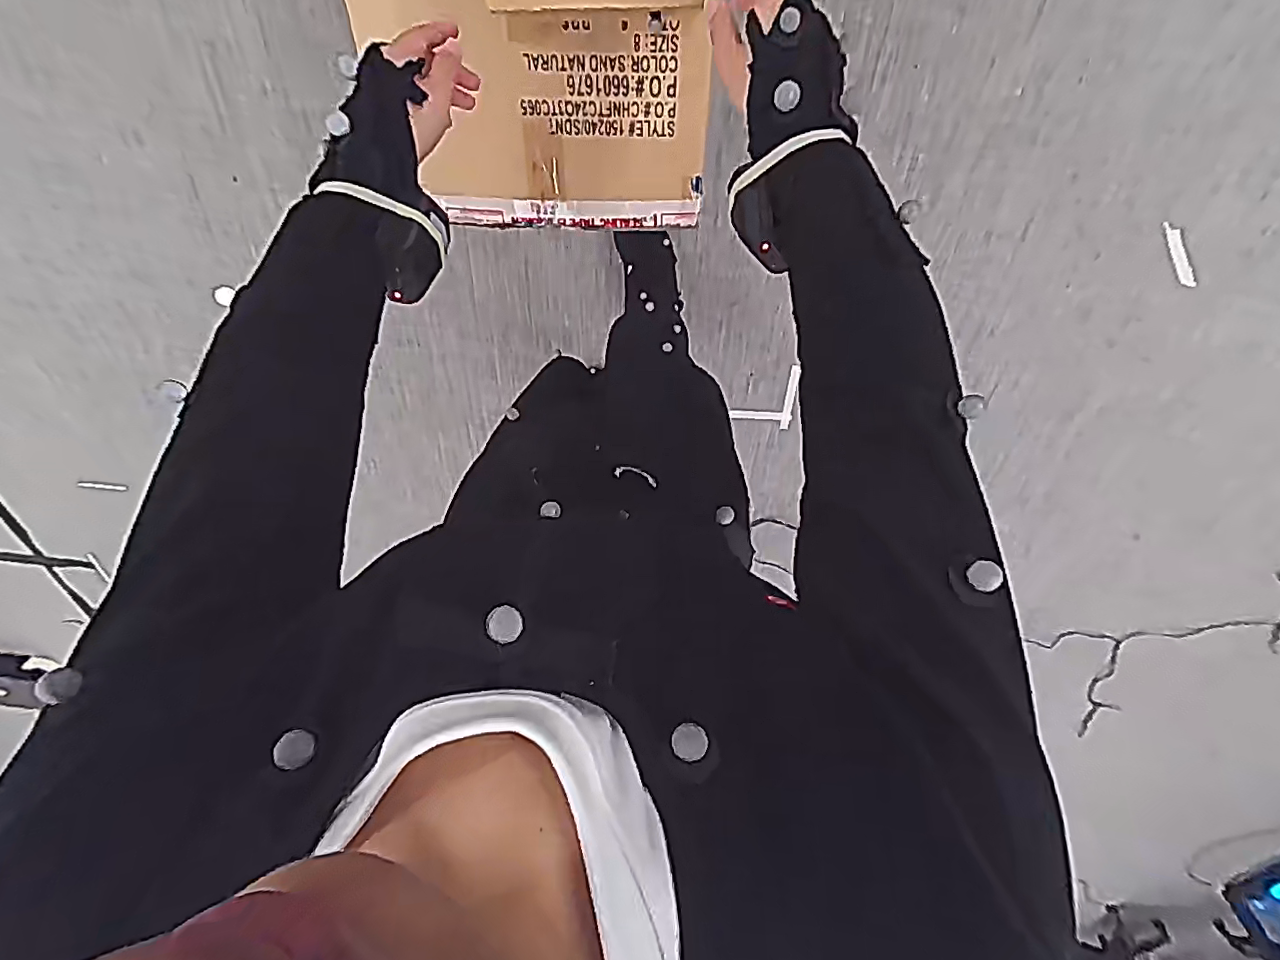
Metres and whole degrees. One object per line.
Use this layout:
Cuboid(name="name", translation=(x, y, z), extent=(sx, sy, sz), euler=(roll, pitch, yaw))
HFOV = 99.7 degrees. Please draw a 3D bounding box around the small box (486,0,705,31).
Cuboid(name="small box", translation=(-0.032, -0.482, 0.446), extent=(0.179, 0.176, 0.168), euler=(0, 128, 2))
